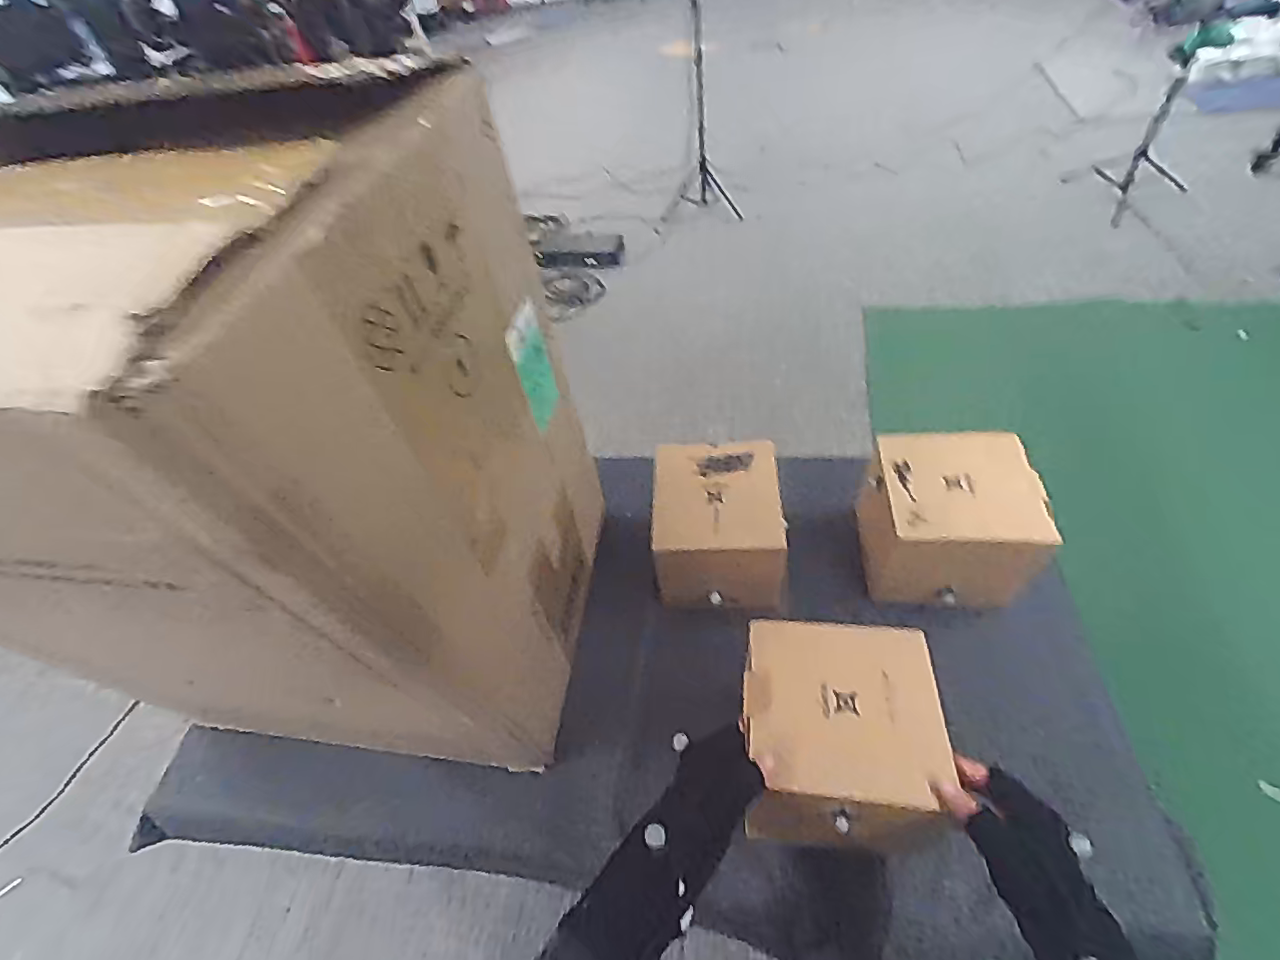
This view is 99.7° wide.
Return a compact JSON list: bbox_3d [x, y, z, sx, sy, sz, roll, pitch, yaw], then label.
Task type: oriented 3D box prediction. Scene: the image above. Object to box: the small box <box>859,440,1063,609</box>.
[{"bbox_3d":[0.414,0.063,0.736,0.179,0.176,0.168,1,50,10],"label":"small box"}]
